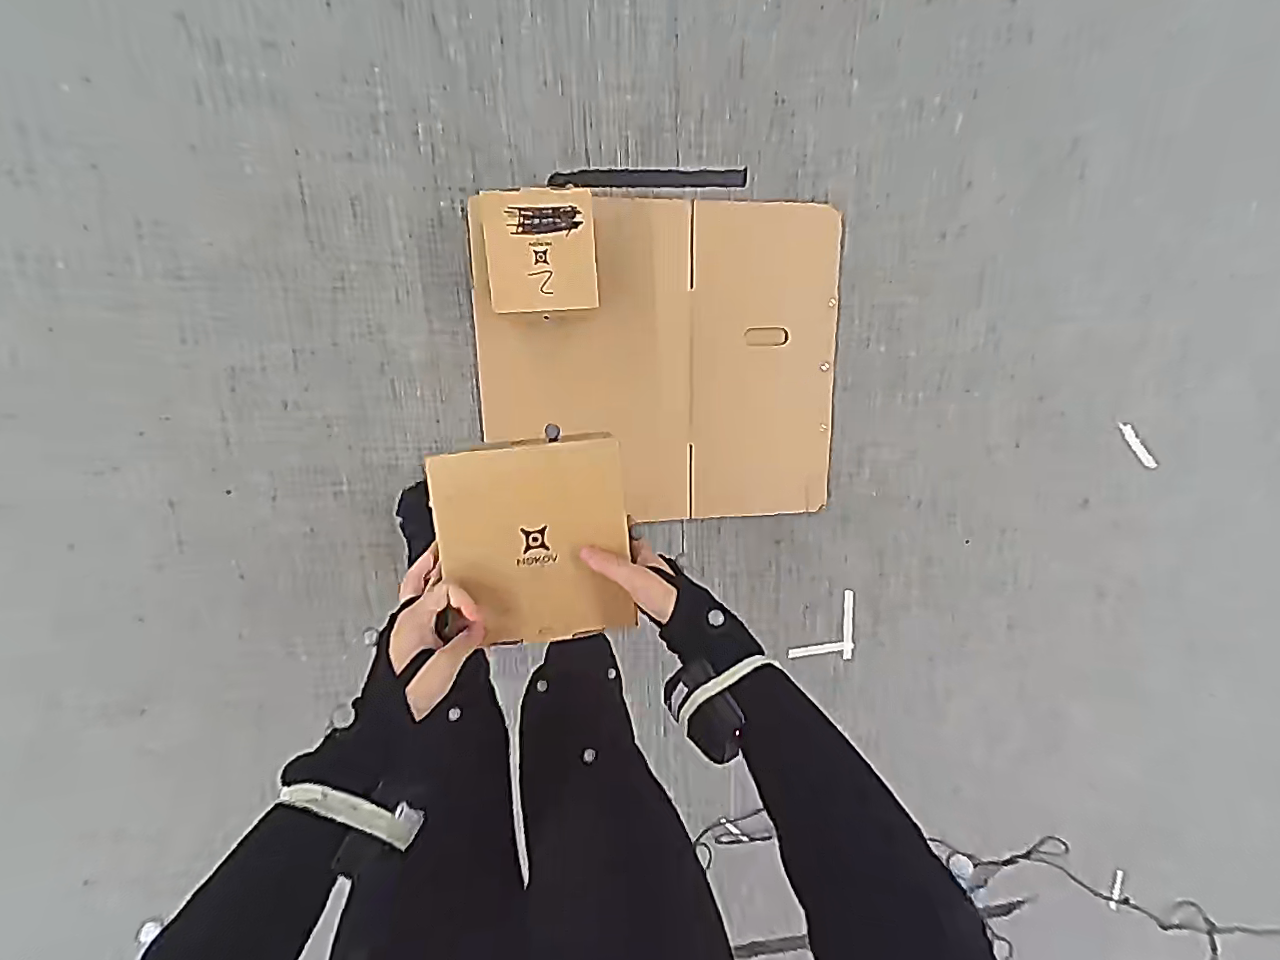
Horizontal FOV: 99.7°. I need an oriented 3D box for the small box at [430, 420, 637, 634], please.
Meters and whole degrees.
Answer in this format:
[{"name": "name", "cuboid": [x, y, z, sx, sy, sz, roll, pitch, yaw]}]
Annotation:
[{"name": "small box", "cuboid": [-0.100, 0.034, 0.552, 0.168, 0.176, 0.179, -7, 98, -6]}]
